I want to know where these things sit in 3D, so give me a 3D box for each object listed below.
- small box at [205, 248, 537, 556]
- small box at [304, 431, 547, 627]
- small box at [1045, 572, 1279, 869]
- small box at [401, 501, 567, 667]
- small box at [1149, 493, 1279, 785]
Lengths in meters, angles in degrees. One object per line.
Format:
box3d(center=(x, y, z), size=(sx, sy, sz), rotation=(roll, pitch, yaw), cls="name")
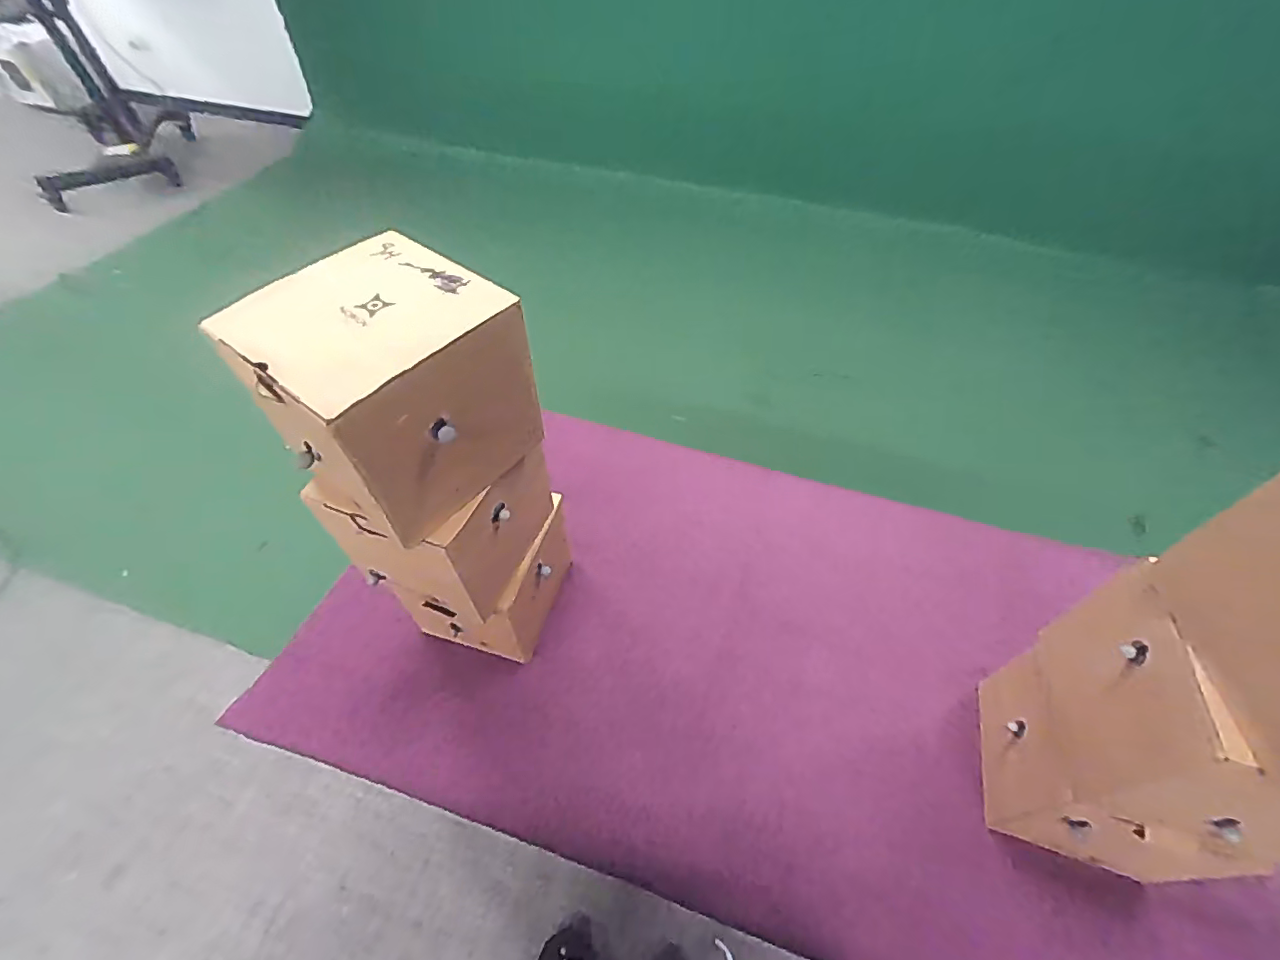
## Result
box3d(center=(-0.212, -0.065, 0.478), size=(0.168, 0.176, 0.179), rotation=(33, 60, 21), cls="small box")
box3d(center=(-0.216, 0.037, 0.607), size=(0.168, 0.176, 0.179), rotation=(18, 54, 12), cls="small box")
box3d(center=(0.501, 0.214, 0.479), size=(0.168, 0.176, 0.179), rotation=(12, 52, 9), cls="small box")
box3d(center=(-0.206, 0.128, 0.744), size=(0.168, 0.176, 0.179), rotation=(14, 53, 9), cls="small box")
box3d(center=(0.510, 0.112, 0.351), size=(0.168, 0.176, 0.179), rotation=(4, 51, 2), cls="small box")
